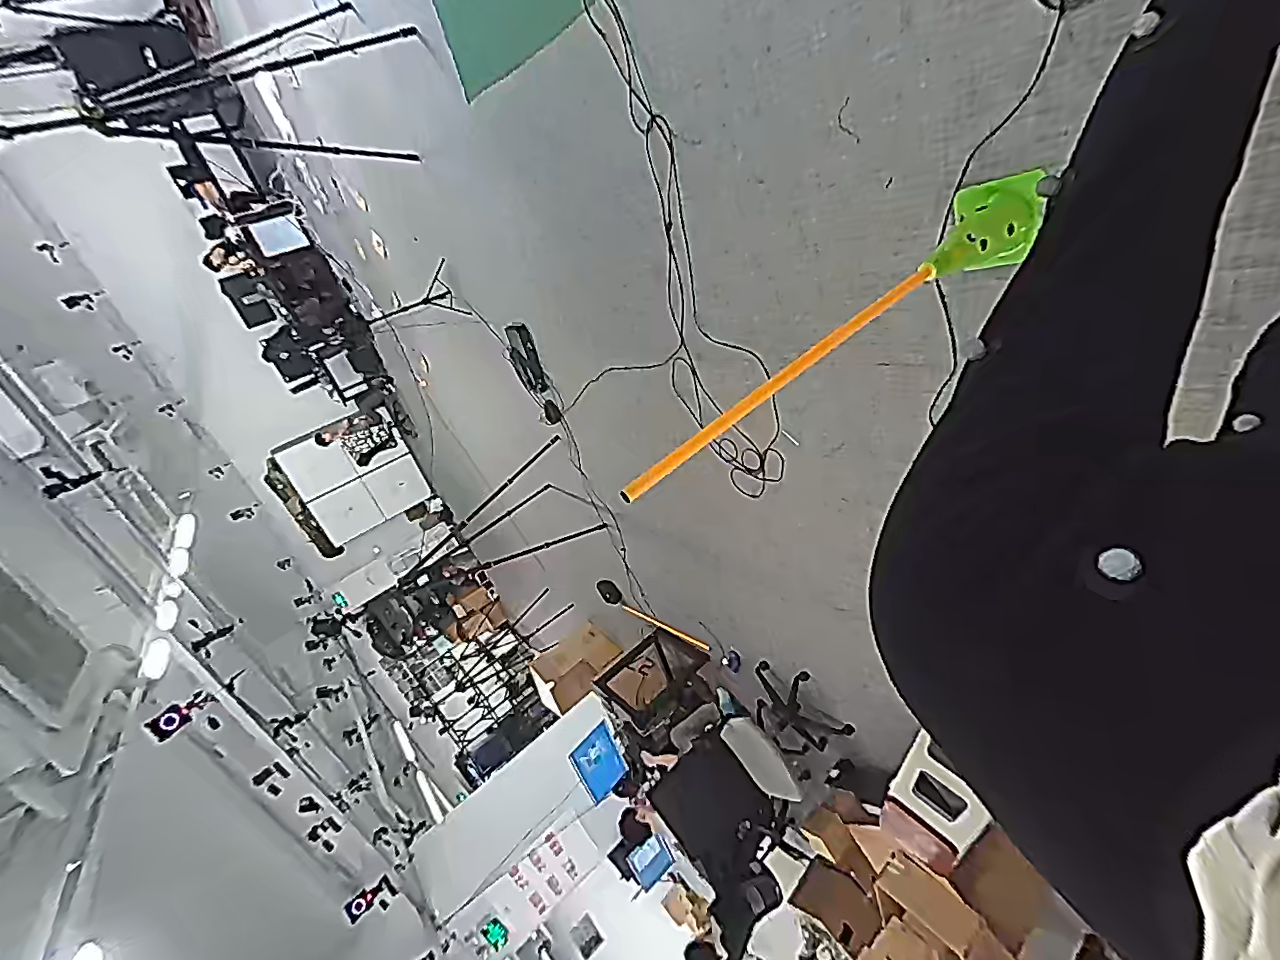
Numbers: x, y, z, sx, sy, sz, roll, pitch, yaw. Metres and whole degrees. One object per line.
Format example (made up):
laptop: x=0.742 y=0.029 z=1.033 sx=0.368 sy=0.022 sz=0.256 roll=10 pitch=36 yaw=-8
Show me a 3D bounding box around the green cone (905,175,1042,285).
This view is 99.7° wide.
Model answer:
green cone: x=0.730 y=-0.532 z=1.243 sx=0.202 sy=0.368 sz=0.200 roll=15 pitch=132 yaw=55
